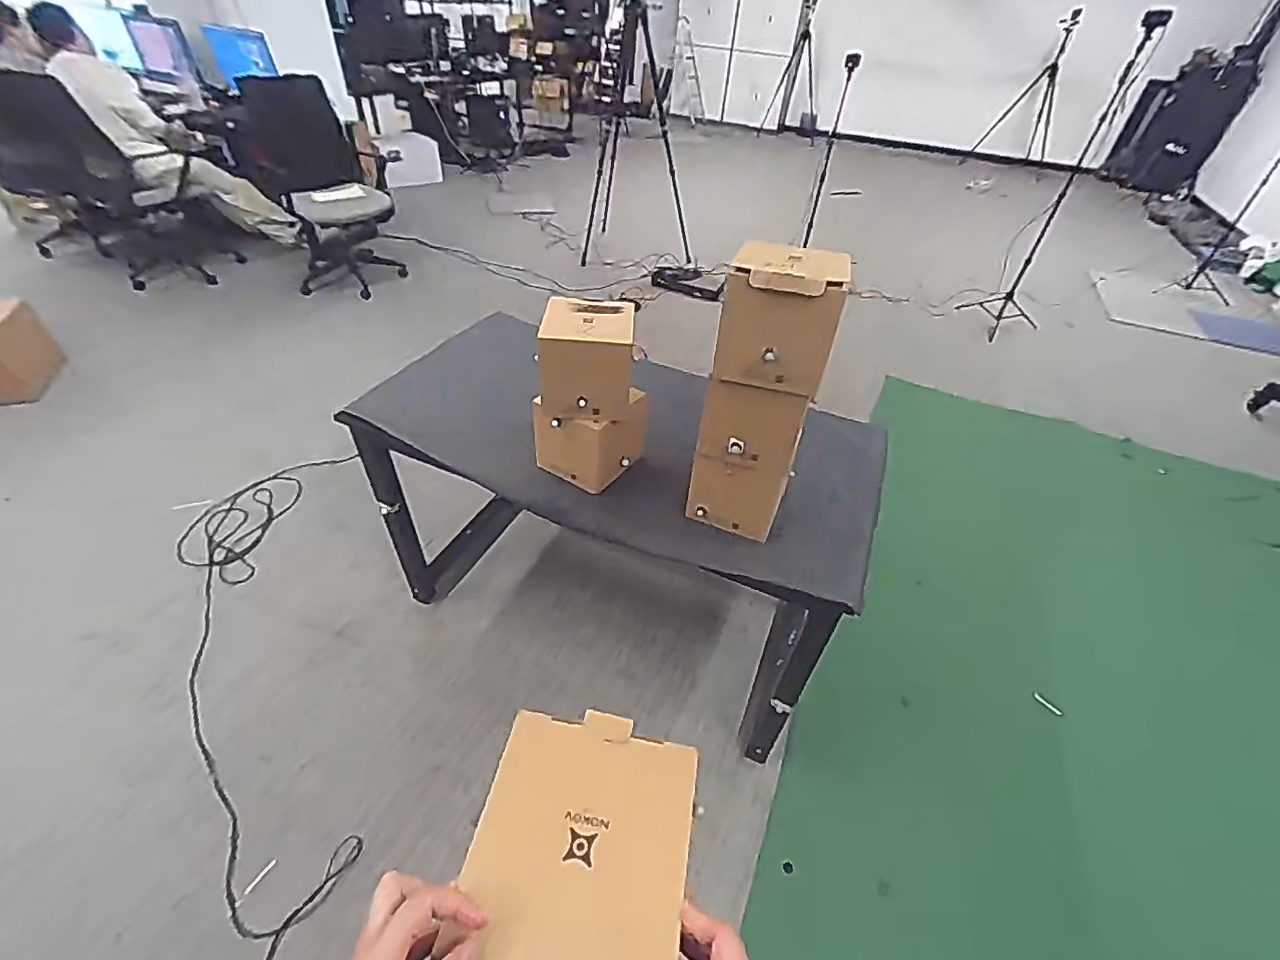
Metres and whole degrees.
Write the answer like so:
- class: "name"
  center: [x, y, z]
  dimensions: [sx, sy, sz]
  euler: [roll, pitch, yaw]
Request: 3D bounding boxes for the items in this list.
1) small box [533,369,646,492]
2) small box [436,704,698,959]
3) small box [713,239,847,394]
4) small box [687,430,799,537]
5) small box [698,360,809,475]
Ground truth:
- class: "small box"
  center: [-0.108, -0.106, 1.144]
  dimensions: [0.168, 0.176, 0.179]
  euler: [25, 44, 22]
- class: "small box"
  center: [-0.049, 0.330, 0.470]
  dimensions: [0.168, 0.176, 0.179]
  euler: [10, 42, 4]
- class: "small box"
  center: [0.216, -0.259, 0.847]
  dimensions: [0.168, 0.176, 0.179]
  euler: [13, 40, 12]
- class: "small box"
  center: [0.199, -0.016, 1.066]
  dimensions: [0.168, 0.176, 0.179]
  euler: [19, 41, 16]
- class: "small box"
  center: [0.207, -0.138, 0.960]
  dimensions: [0.168, 0.176, 0.179]
  euler: [15, 42, 14]
